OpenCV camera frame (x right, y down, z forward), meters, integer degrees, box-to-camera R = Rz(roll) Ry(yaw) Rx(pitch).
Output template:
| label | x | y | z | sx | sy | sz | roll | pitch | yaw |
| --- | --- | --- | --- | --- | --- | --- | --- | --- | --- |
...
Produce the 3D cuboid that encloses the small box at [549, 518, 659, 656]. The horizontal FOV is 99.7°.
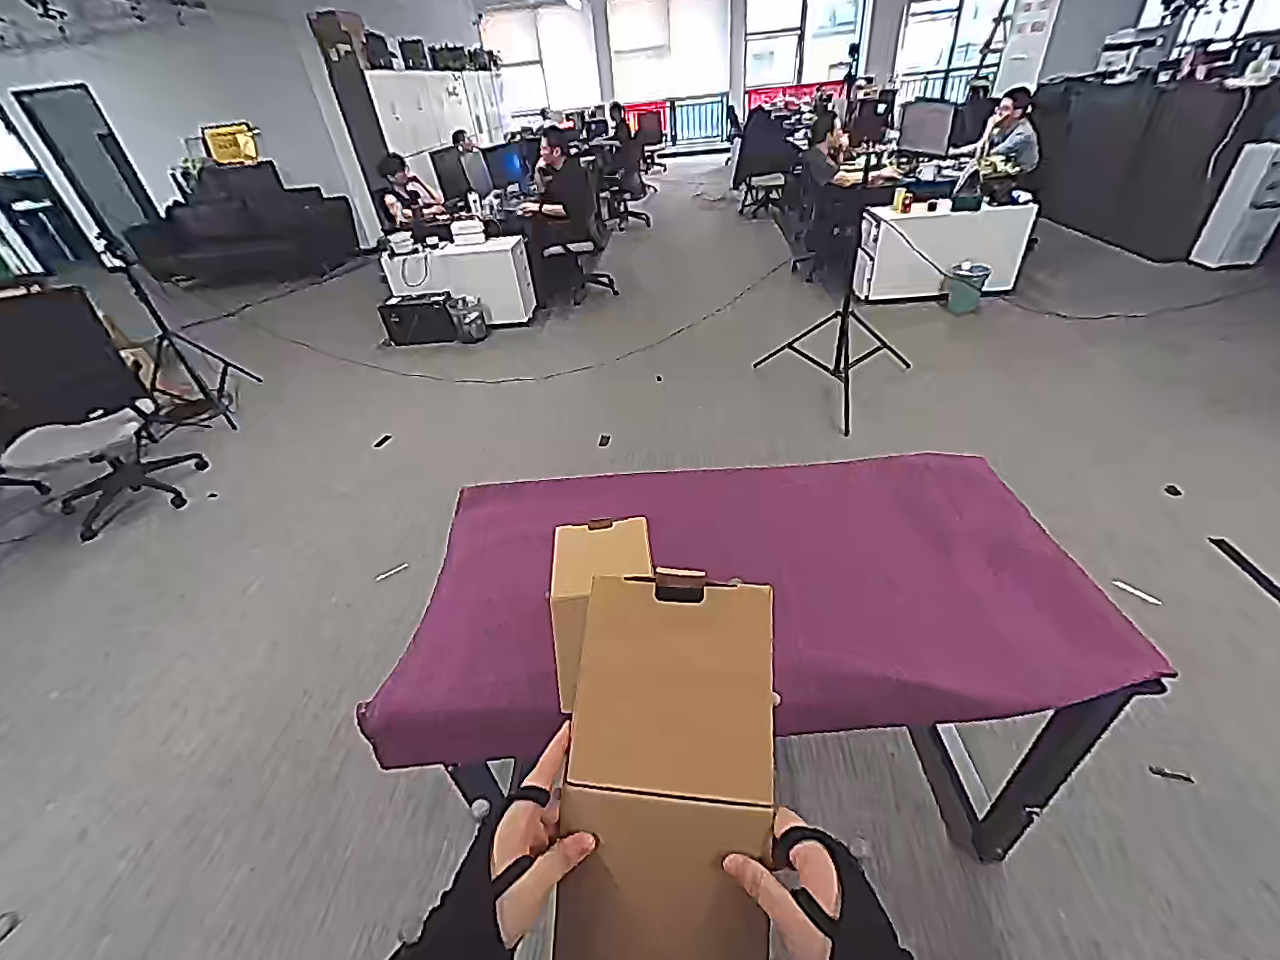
| label | x | y | z | sx | sy | sz | roll | pitch | yaw |
| --- | --- | --- | --- | --- | --- | --- | --- | --- | --- |
| small box | -0.059 | 0.194 | 0.958 | 0.168 | 0.176 | 0.179 | -6 | 35 | -1 |
